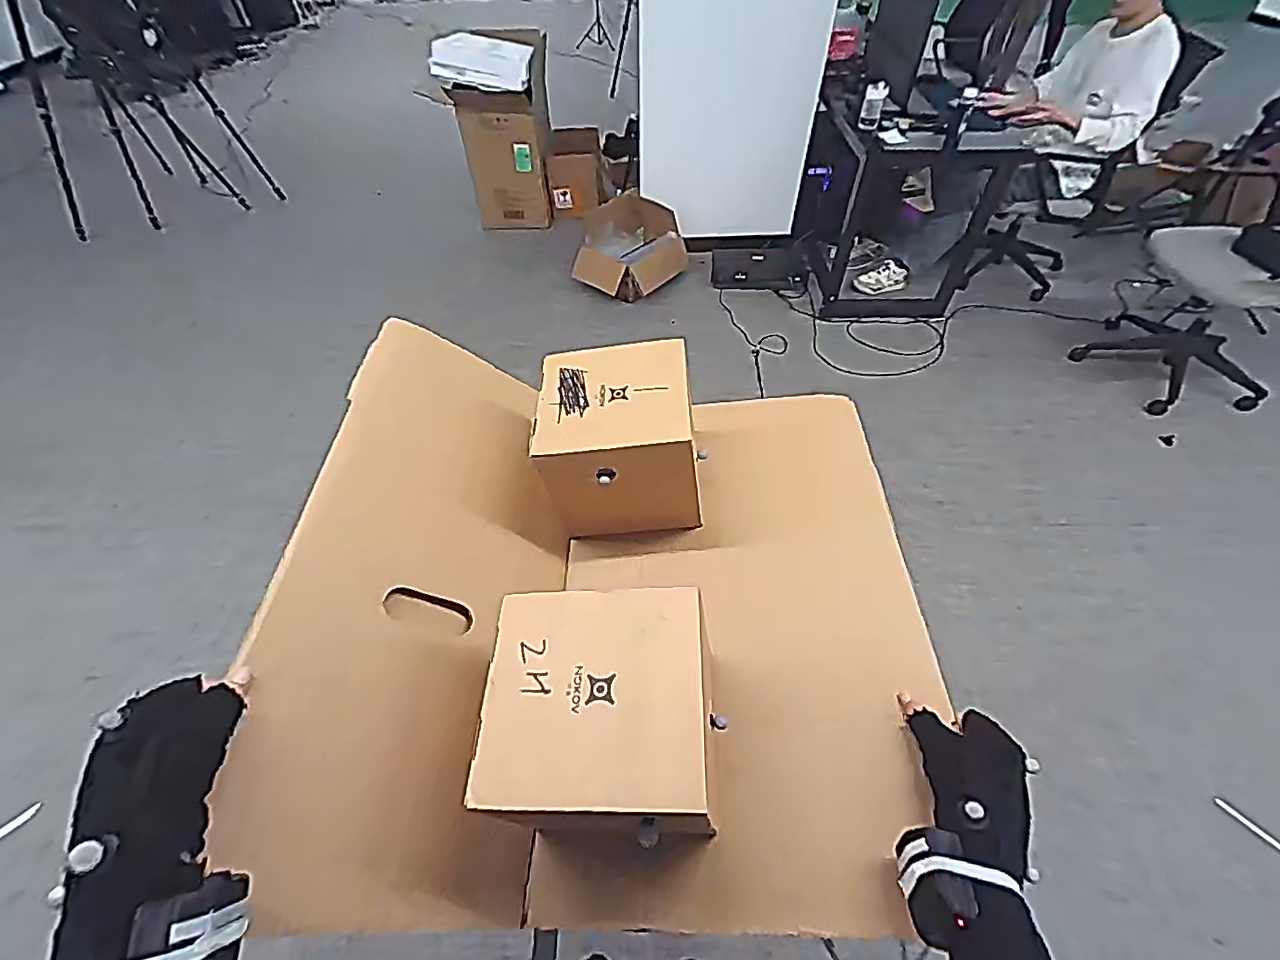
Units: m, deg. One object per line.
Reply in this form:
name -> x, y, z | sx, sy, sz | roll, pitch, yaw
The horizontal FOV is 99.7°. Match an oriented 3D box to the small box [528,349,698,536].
small box -> -0.024, -0.040, 0.685 | 0.179, 0.176, 0.168 | -5, 53, 7
